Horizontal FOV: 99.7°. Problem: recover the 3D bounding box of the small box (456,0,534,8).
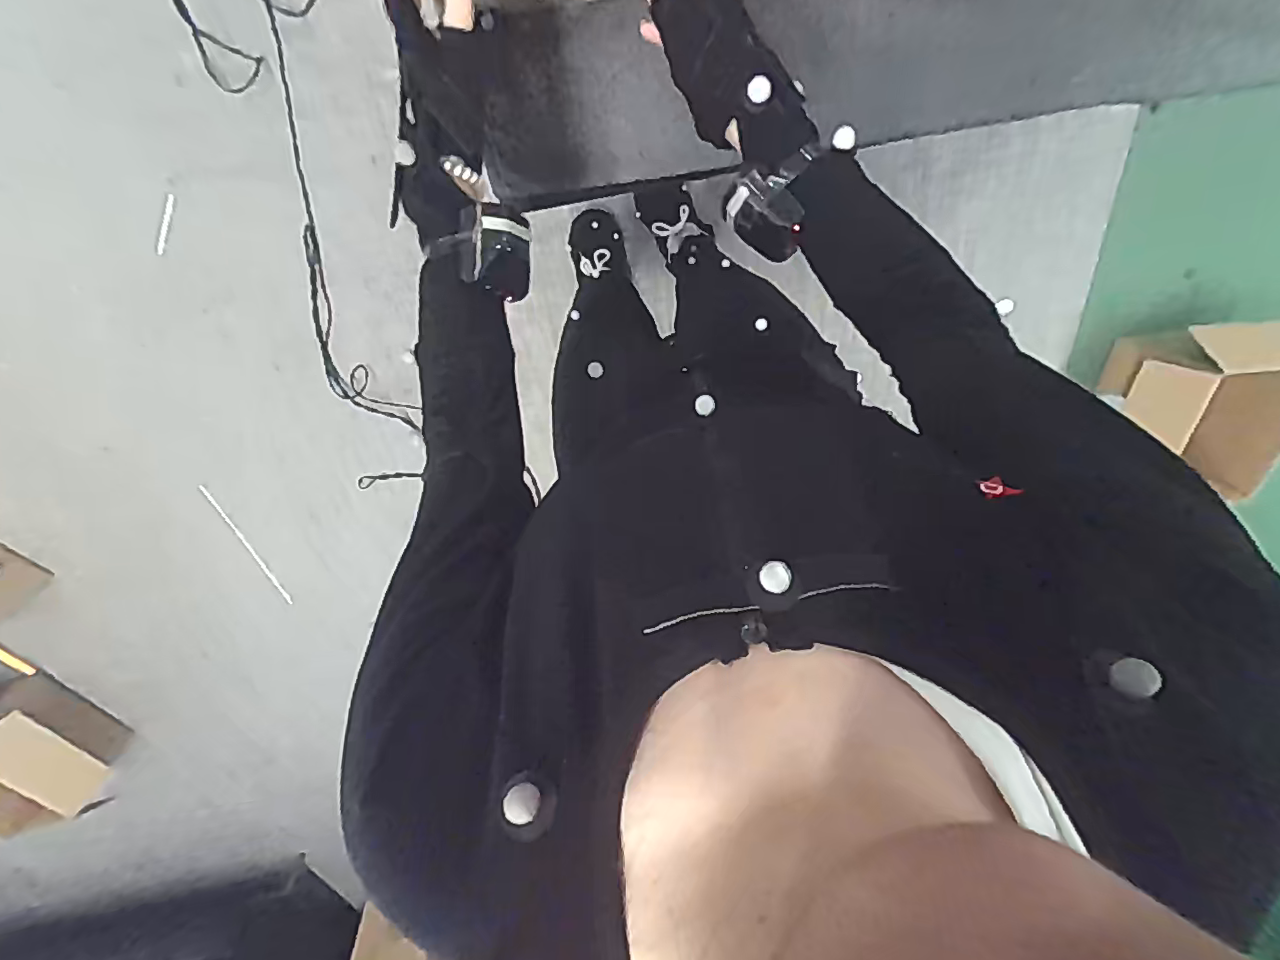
[{"bbox_3d":[-0.091,-0.467,0.384,0.168,0.176,0.179,-9,121,-1],"label":"small box"}]
